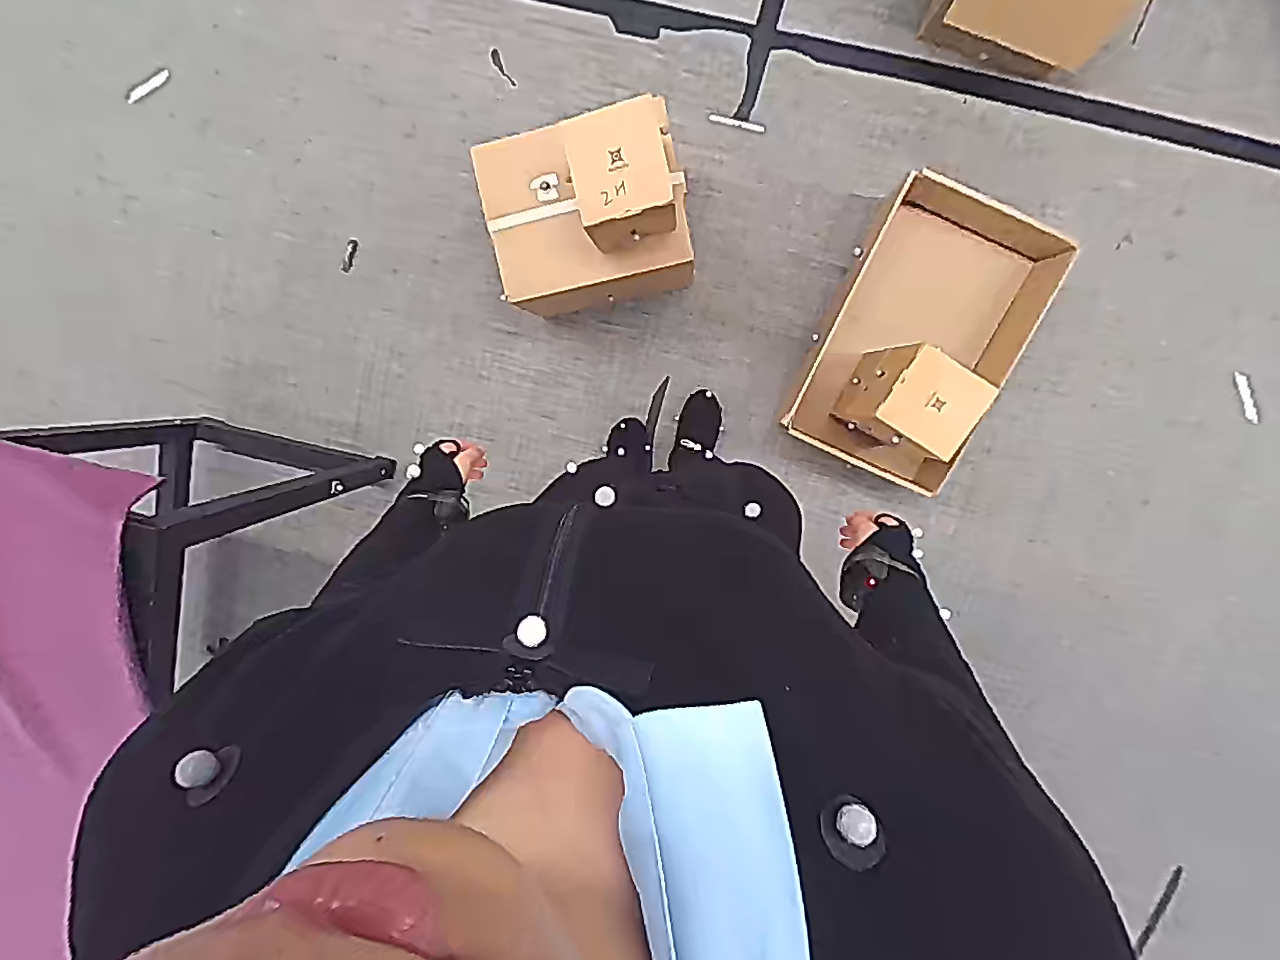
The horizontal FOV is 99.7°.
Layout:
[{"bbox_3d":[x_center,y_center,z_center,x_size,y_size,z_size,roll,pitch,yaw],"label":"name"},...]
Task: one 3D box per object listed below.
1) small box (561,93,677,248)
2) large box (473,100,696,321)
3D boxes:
[{"bbox_3d":[-0.029,-0.548,0.983,0.168,0.176,0.179,-12,100,8],"label":"small box"},{"bbox_3d":[-0.100,-0.576,1.235,0.408,0.320,0.320,-11,98,7],"label":"large box"}]
